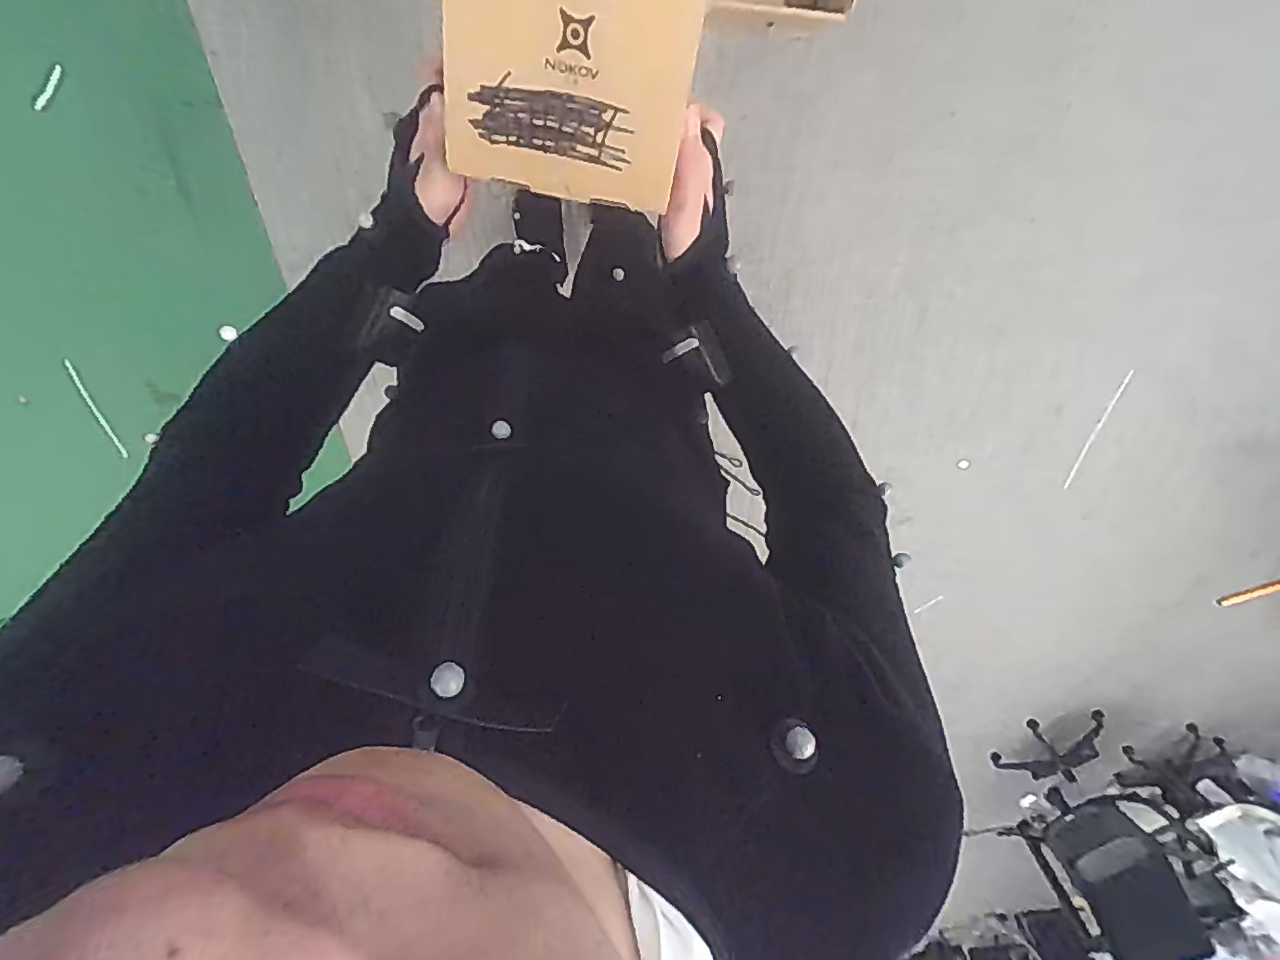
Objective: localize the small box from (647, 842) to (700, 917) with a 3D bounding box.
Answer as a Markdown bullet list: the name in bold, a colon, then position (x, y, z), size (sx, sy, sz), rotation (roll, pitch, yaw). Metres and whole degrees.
- **small box**: position (0.111, 1.377, 1.872), size (0.168, 0.176, 0.179), rotation (-3, 127, -2)
